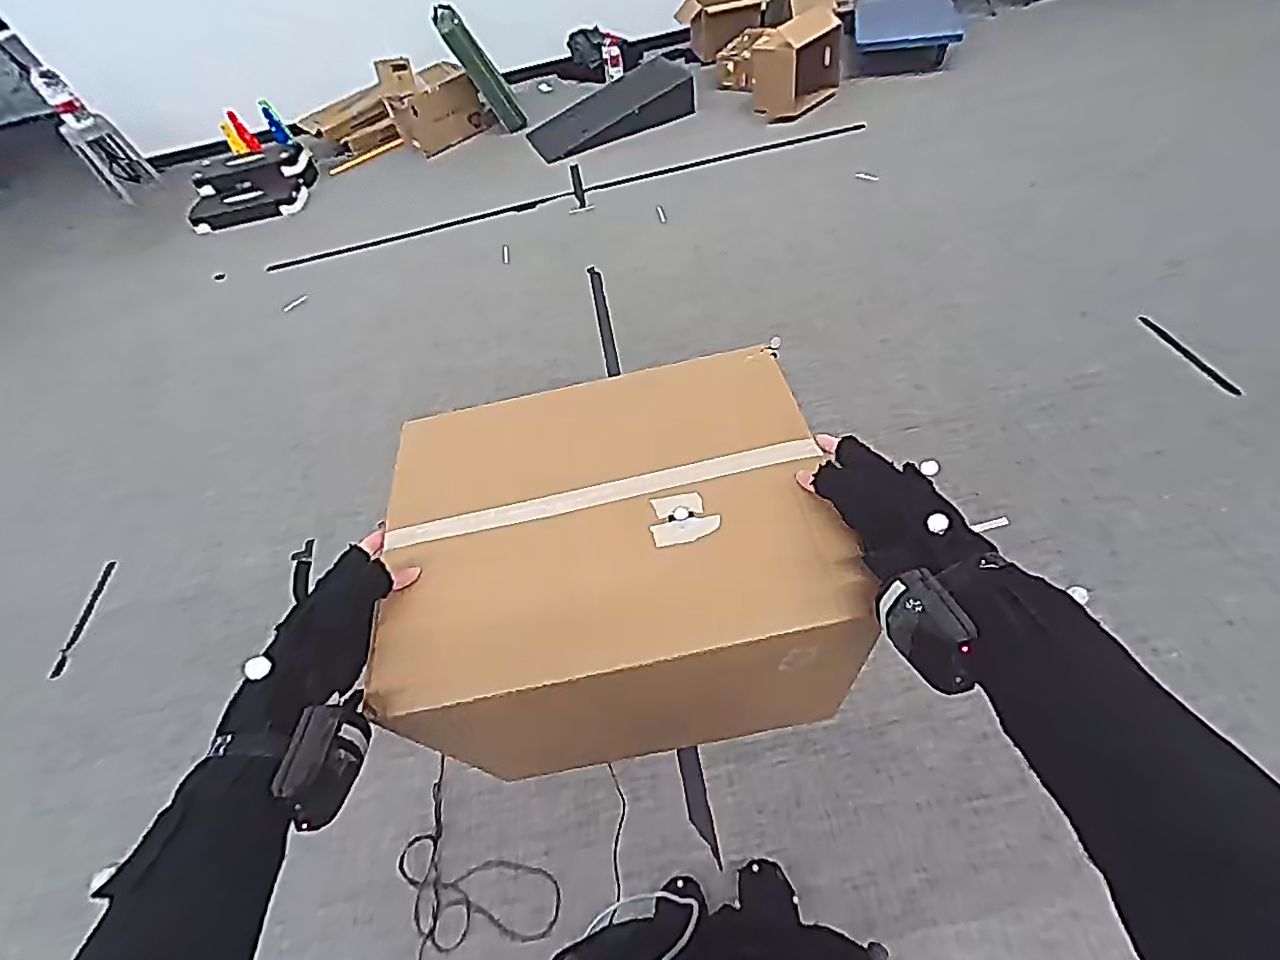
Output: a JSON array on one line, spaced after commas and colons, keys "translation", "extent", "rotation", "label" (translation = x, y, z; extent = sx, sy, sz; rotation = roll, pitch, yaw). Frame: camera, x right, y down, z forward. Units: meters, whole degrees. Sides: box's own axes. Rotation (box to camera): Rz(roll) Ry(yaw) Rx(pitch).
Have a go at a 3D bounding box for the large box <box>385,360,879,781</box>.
[{"translation": [-0.013, 0.114, 0.625], "extent": [0.408, 0.320, 0.320], "rotation": [-12, 53, 0], "label": "large box"}]
